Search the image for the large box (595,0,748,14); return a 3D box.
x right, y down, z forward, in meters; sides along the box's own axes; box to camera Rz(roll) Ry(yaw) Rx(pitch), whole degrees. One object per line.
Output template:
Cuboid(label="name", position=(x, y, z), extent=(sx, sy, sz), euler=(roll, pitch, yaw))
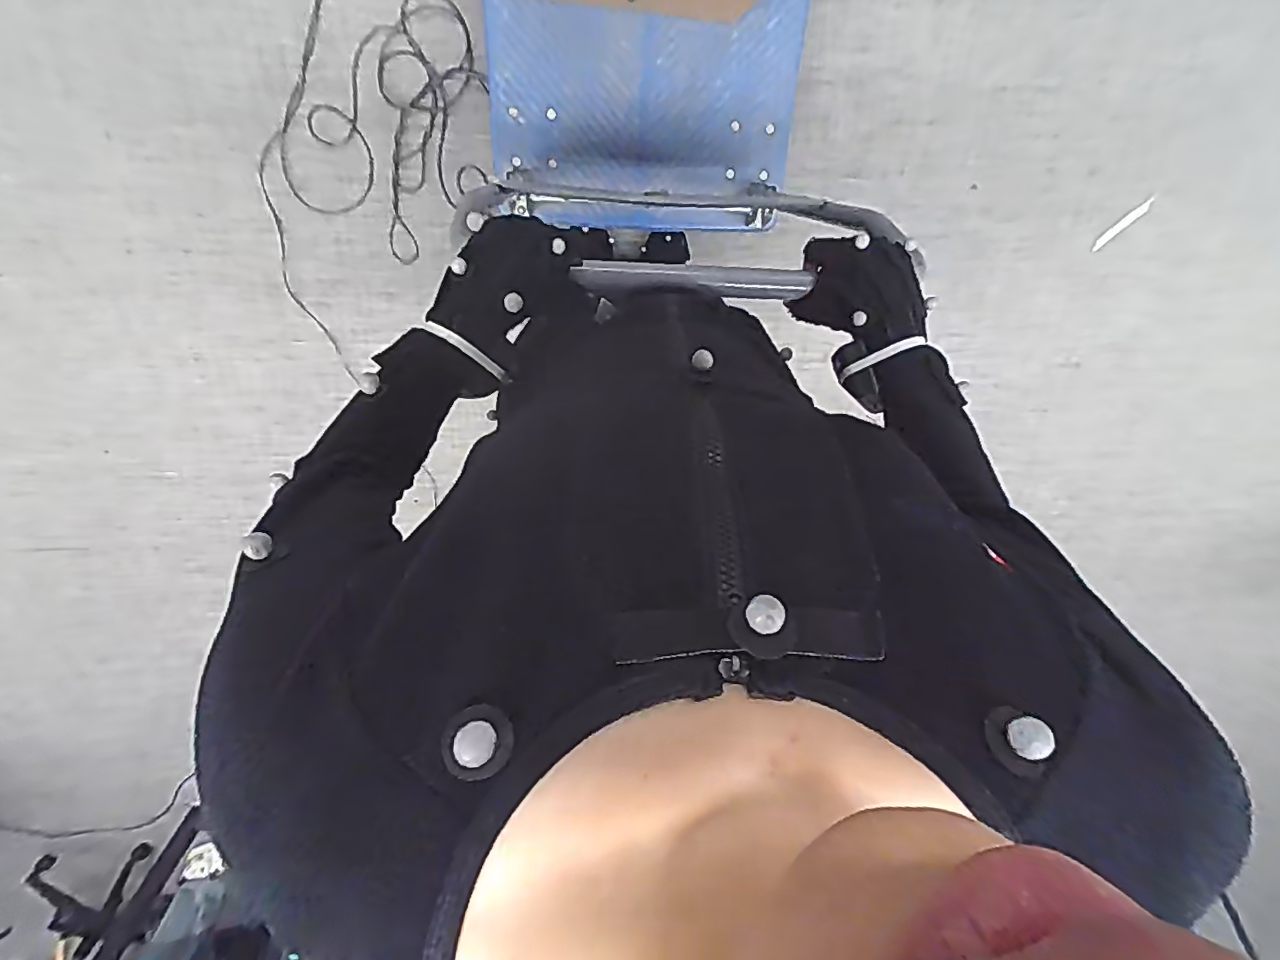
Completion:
Cuboid(label="large box", position=(0.000, -0.897, 0.751), extent=(0.408, 0.320, 0.320), euler=(2, 118, -6))
